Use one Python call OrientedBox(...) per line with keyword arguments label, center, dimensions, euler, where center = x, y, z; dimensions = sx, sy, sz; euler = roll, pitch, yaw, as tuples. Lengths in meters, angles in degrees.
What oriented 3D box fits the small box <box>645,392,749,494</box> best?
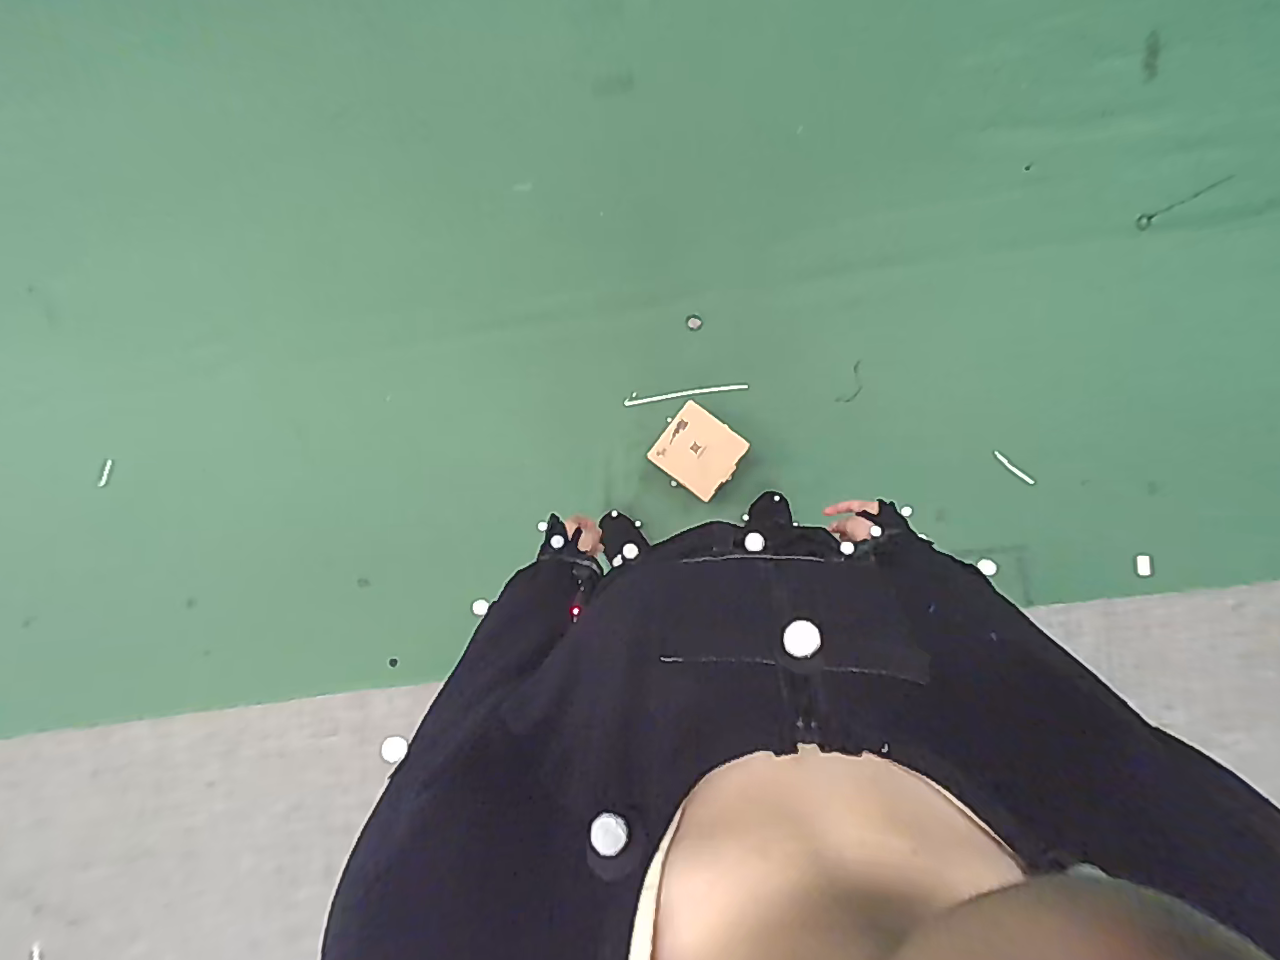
OrientedBox(label="small box", center=(0.133, -0.085, 1.285), dimensions=(0.179, 0.176, 0.168), euler=(38, 92, 3))
